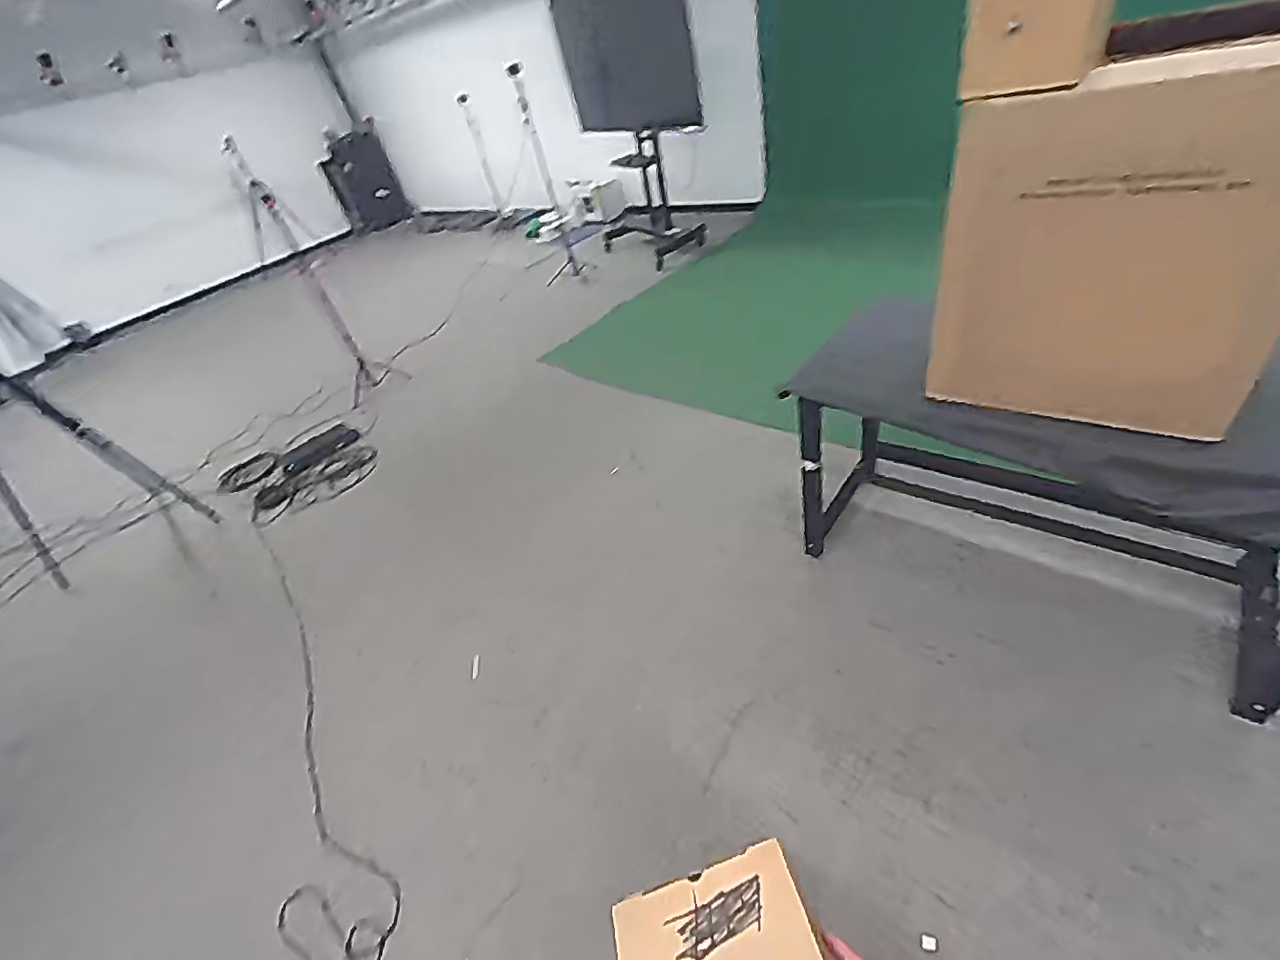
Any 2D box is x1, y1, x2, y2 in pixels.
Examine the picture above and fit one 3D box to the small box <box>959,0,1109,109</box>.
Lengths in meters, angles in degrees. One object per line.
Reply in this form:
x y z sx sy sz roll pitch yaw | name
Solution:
0.674 -0.762 0.929 0.179 0.176 0.168 21 52 39 | small box
